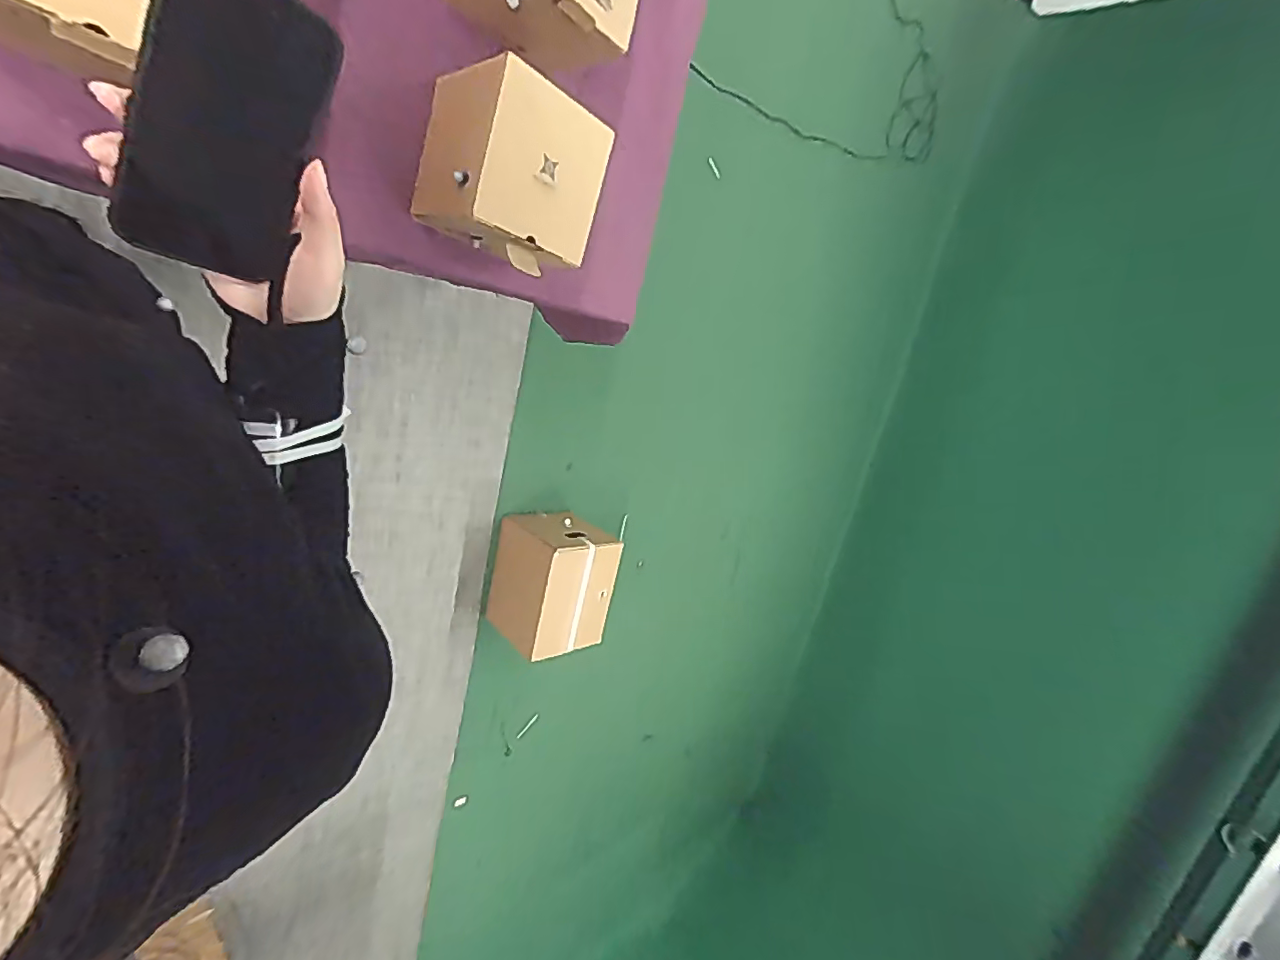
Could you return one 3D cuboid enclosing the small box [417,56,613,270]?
[{"bbox_3d":[-0.166,-0.393,0.700,0.168,0.176,0.179,5,105,-48],"label":"small box"}]
